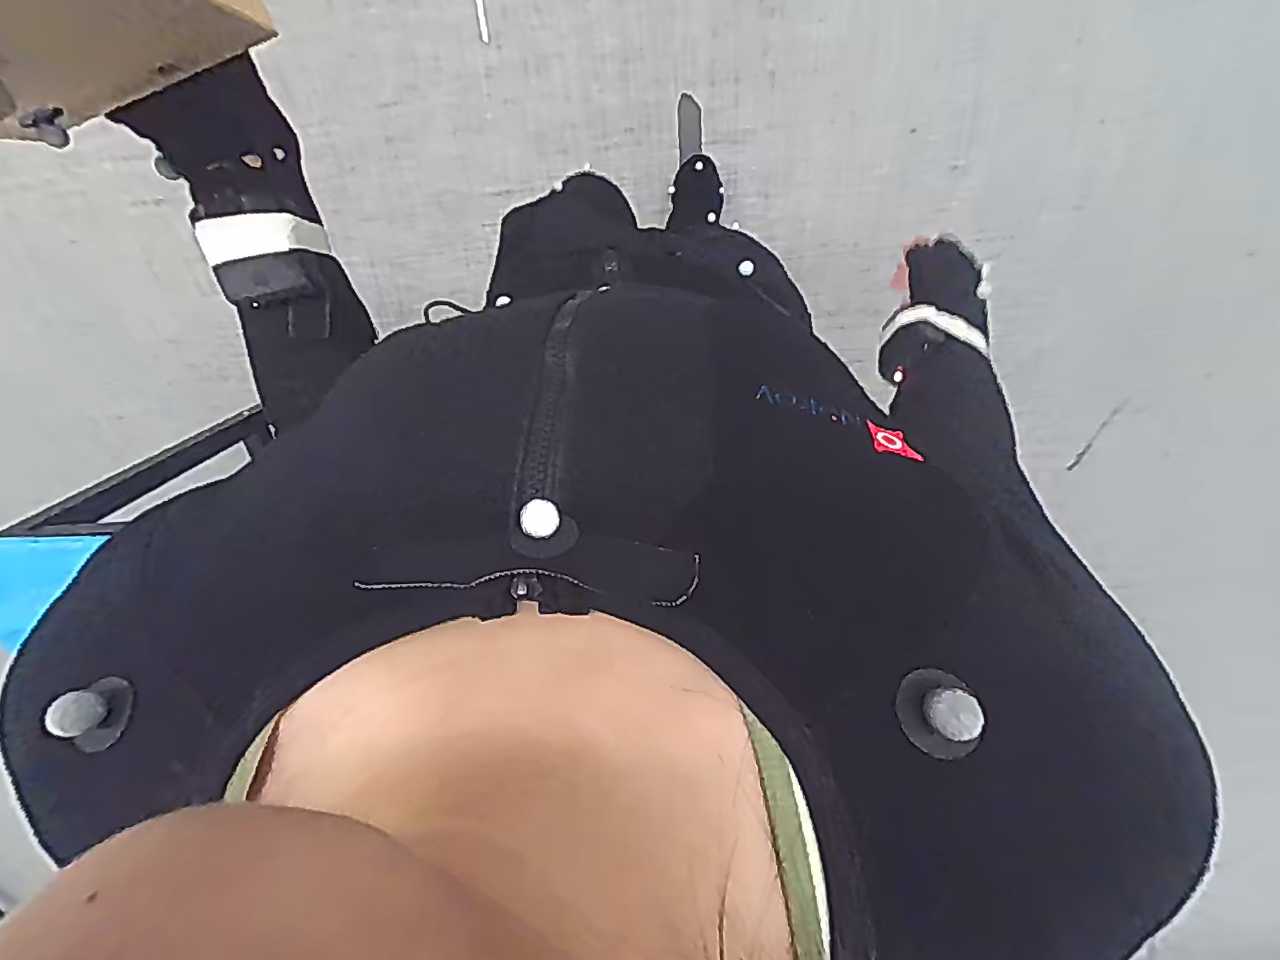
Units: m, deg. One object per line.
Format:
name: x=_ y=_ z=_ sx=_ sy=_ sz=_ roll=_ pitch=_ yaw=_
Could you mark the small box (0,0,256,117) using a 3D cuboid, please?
small box: x=-0.305 y=-0.265 z=0.205 sx=0.168 sy=0.176 sz=0.179 roll=-18 pitch=116 yaw=6
